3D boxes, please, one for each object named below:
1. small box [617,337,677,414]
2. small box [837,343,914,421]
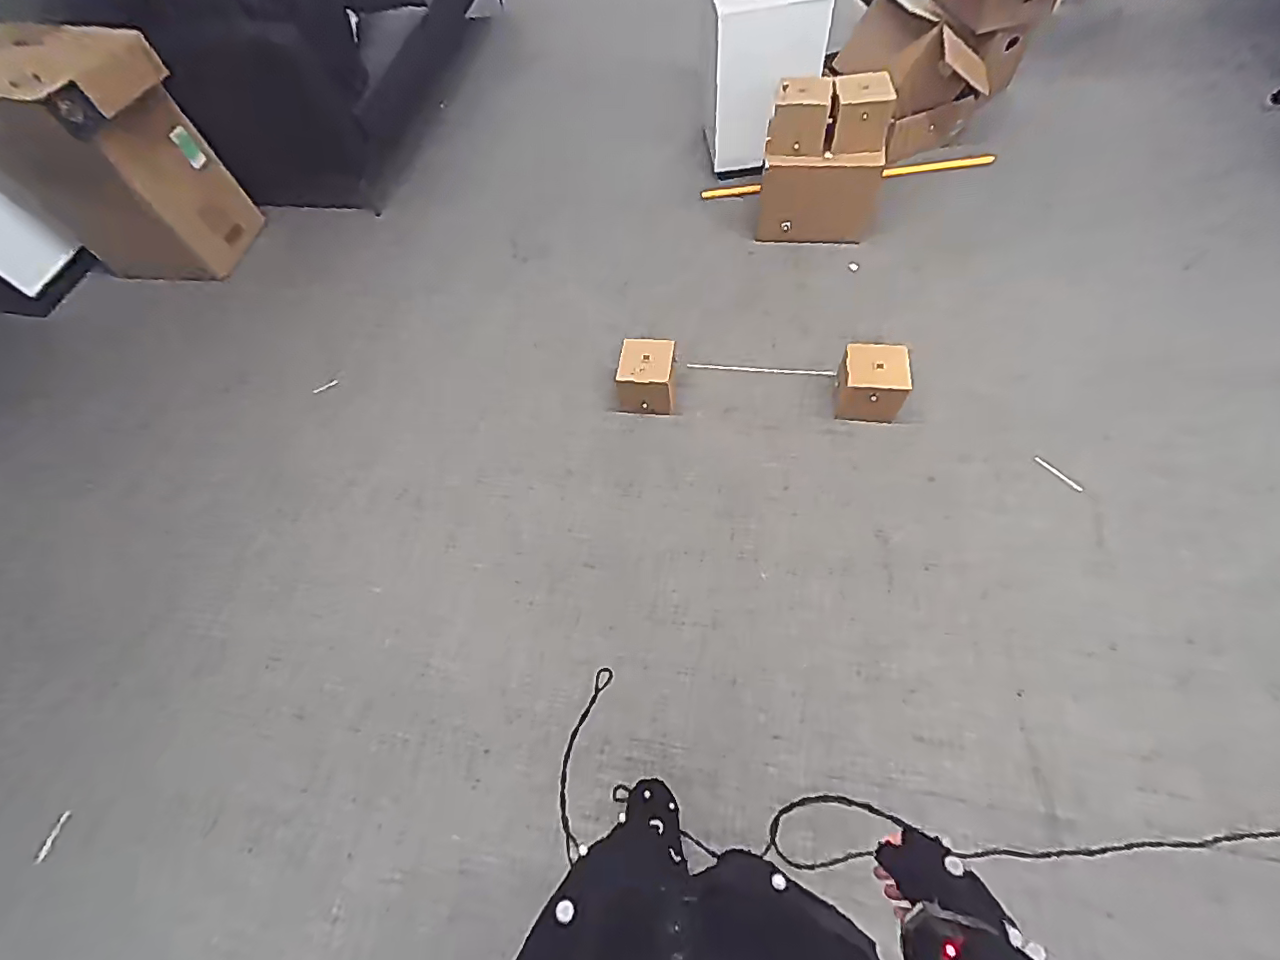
[{"bbox_3d":[0.029,-0.334,1.738,0.168,0.176,0.179,4,62,9],"label":"small box"},{"bbox_3d":[0.706,-0.294,1.637,0.179,0.176,0.168,4,62,10],"label":"small box"}]
